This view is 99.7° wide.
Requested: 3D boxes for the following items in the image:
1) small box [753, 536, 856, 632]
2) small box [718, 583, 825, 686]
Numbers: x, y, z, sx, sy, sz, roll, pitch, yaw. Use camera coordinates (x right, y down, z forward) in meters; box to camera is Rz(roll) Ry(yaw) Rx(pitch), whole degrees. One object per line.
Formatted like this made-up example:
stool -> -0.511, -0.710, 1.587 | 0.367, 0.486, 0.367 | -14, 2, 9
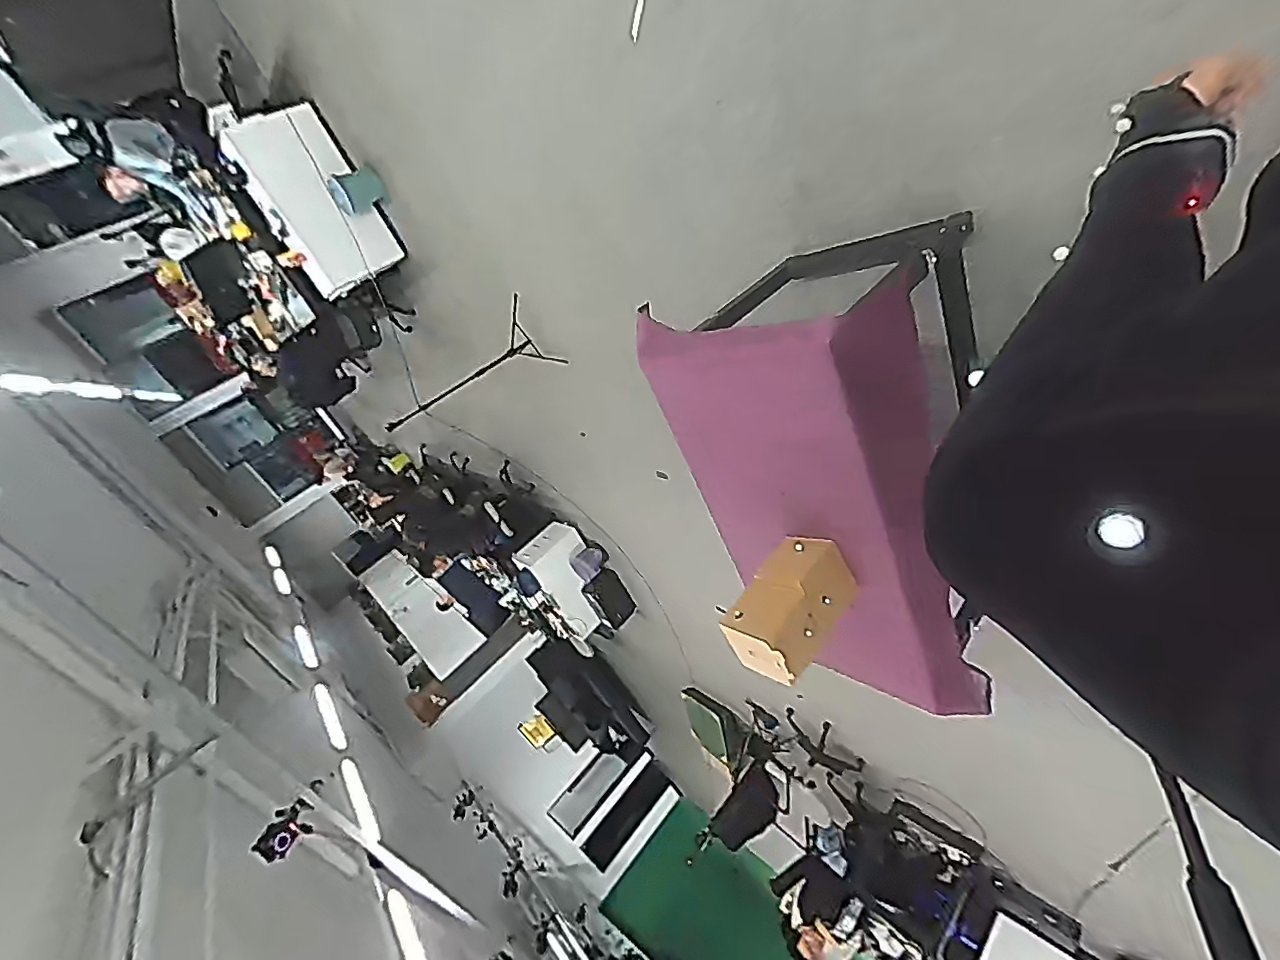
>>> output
small box -> 0.447, 0.275, 1.456 | 0.168, 0.176, 0.179 | -4, 123, 58
small box -> 0.341, 0.390, 1.400 | 0.179, 0.176, 0.168 | 4, 131, 55
